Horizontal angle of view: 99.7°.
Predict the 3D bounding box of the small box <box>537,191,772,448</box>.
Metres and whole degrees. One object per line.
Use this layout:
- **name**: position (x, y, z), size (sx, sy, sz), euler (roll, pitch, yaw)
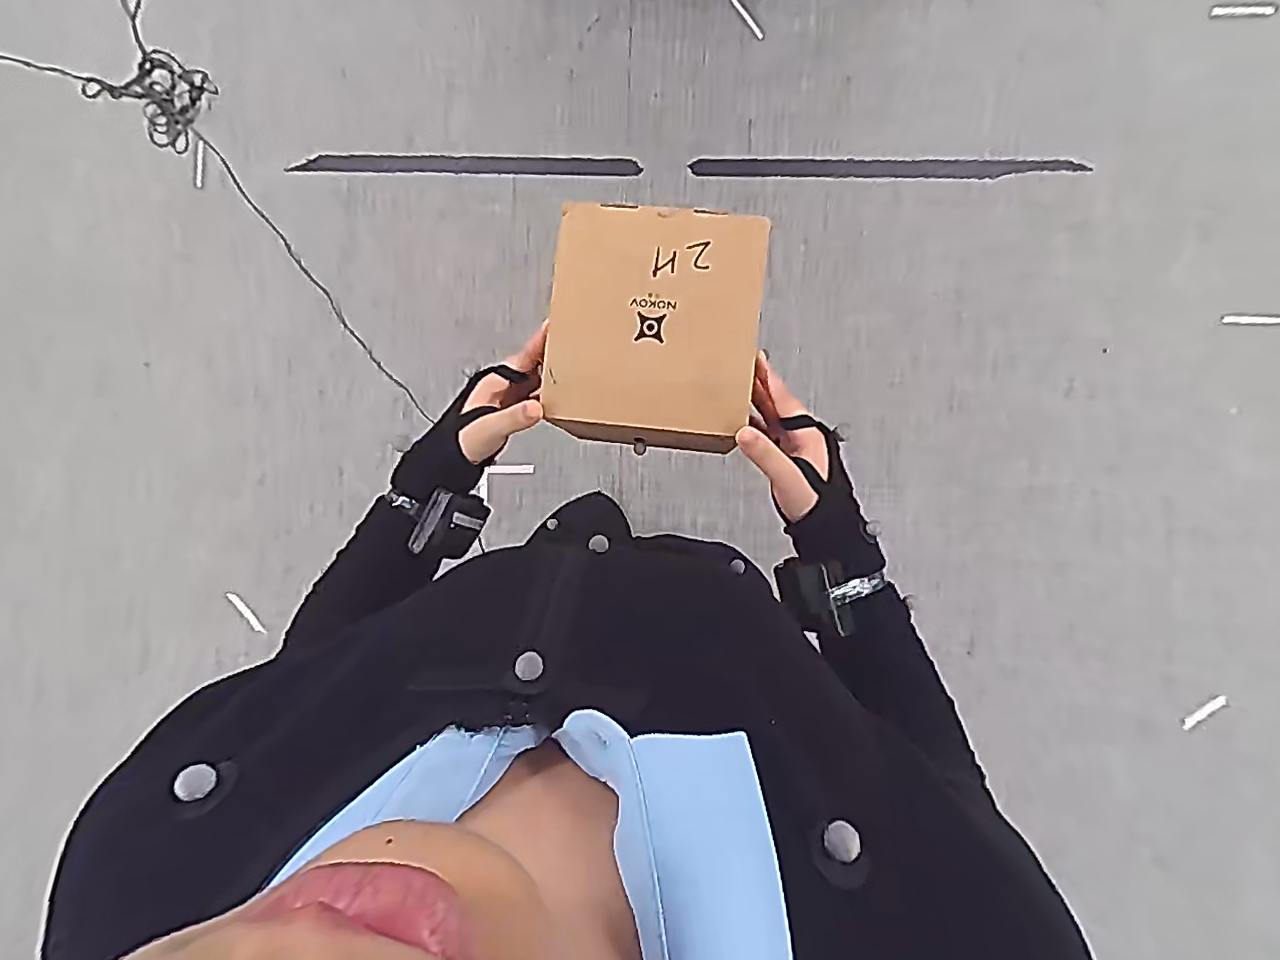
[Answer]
- **small box**: position (0.016, -0.128, 0.494), size (0.168, 0.176, 0.179), euler (7, 88, 4)
